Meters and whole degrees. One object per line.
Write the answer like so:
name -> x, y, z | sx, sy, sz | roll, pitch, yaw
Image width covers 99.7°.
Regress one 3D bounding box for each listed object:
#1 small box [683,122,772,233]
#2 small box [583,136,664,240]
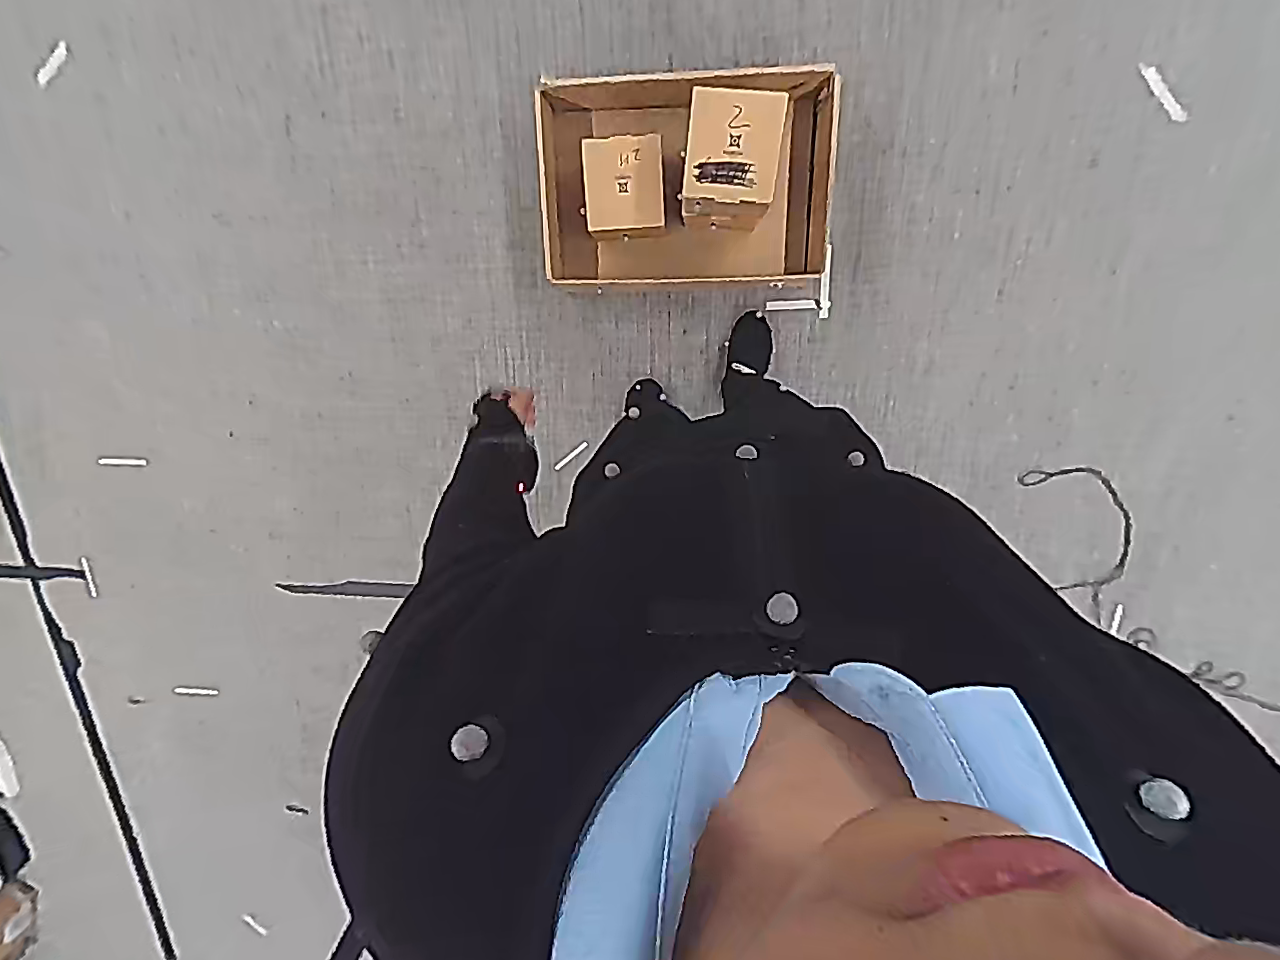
small box -> 0.185, -0.654, 1.183 | 0.168, 0.176, 0.179 | 5, 108, 5
small box -> -0.030, -0.636, 1.199 | 0.168, 0.176, 0.179 | -2, 106, 3
